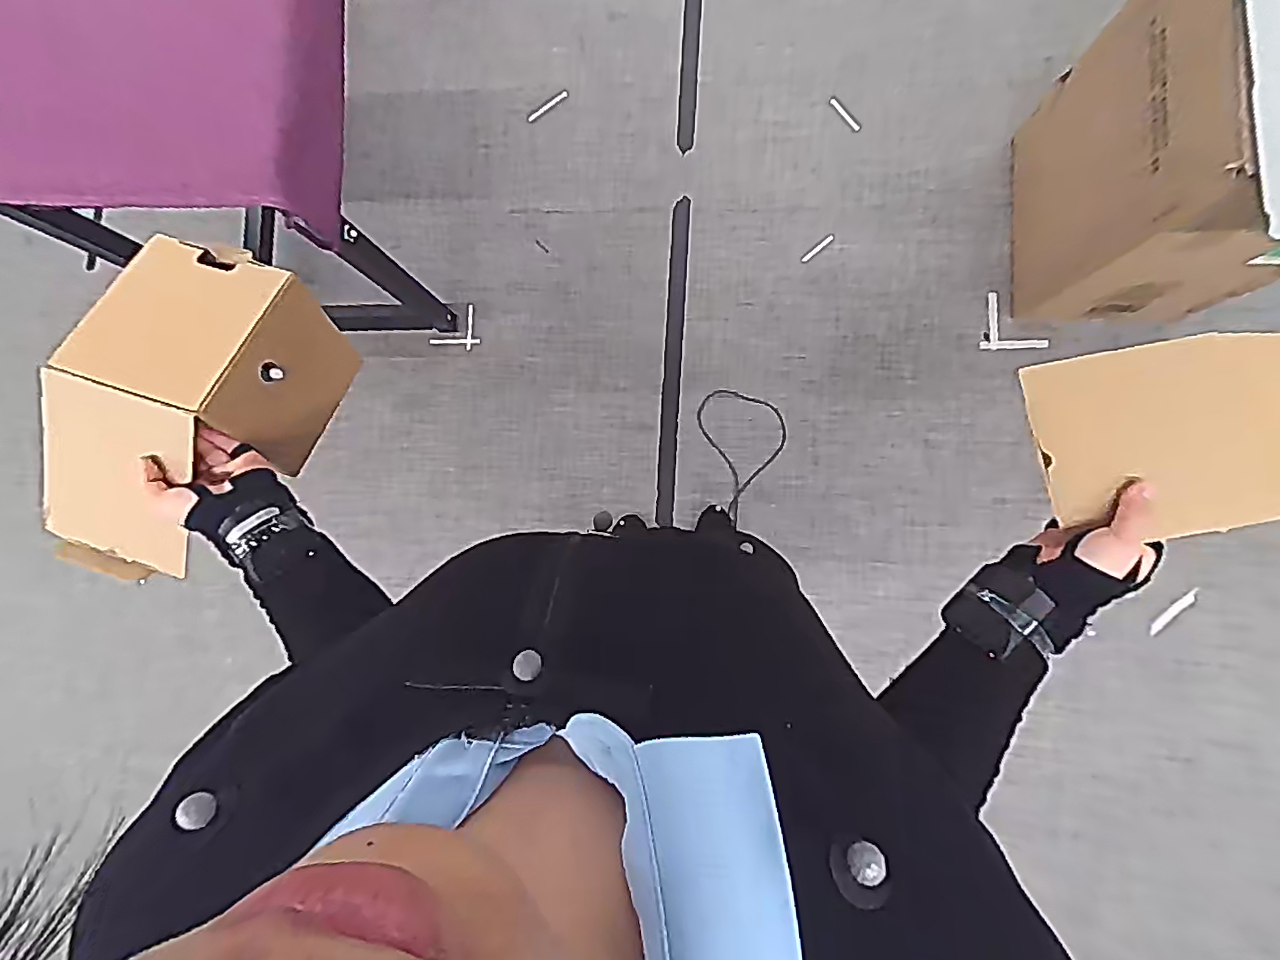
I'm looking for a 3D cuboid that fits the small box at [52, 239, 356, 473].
[{"bbox_3d":[-0.463,-0.129,0.613,0.168,0.176,0.179,17,68,5],"label":"small box"}]
